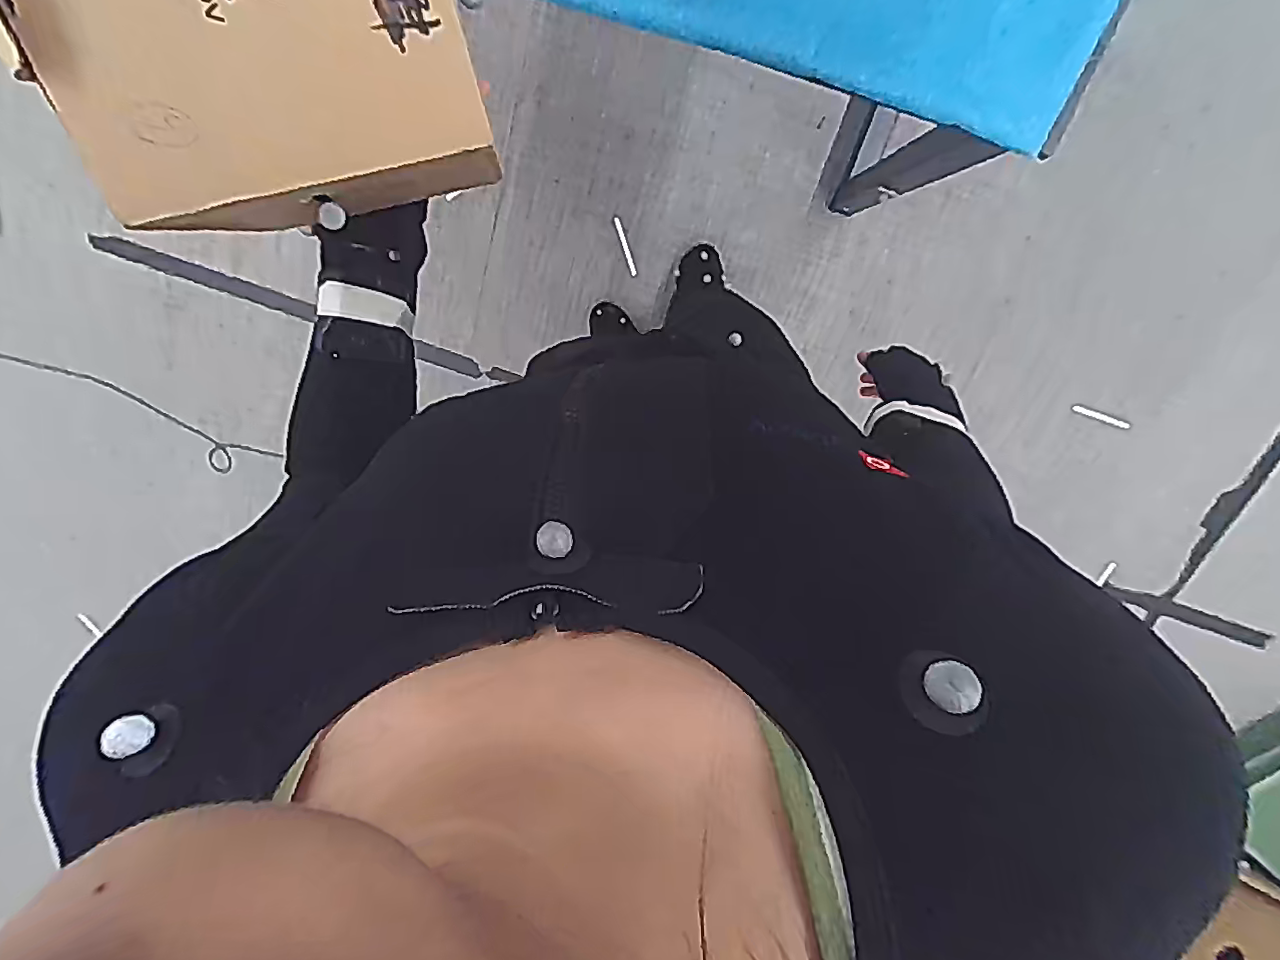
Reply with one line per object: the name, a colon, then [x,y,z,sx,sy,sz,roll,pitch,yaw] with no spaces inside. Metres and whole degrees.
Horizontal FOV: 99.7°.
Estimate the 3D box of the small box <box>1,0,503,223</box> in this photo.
small box: [-0.186,-0.248,0.292,0.179,0.176,0.168,-18,115,-3]
